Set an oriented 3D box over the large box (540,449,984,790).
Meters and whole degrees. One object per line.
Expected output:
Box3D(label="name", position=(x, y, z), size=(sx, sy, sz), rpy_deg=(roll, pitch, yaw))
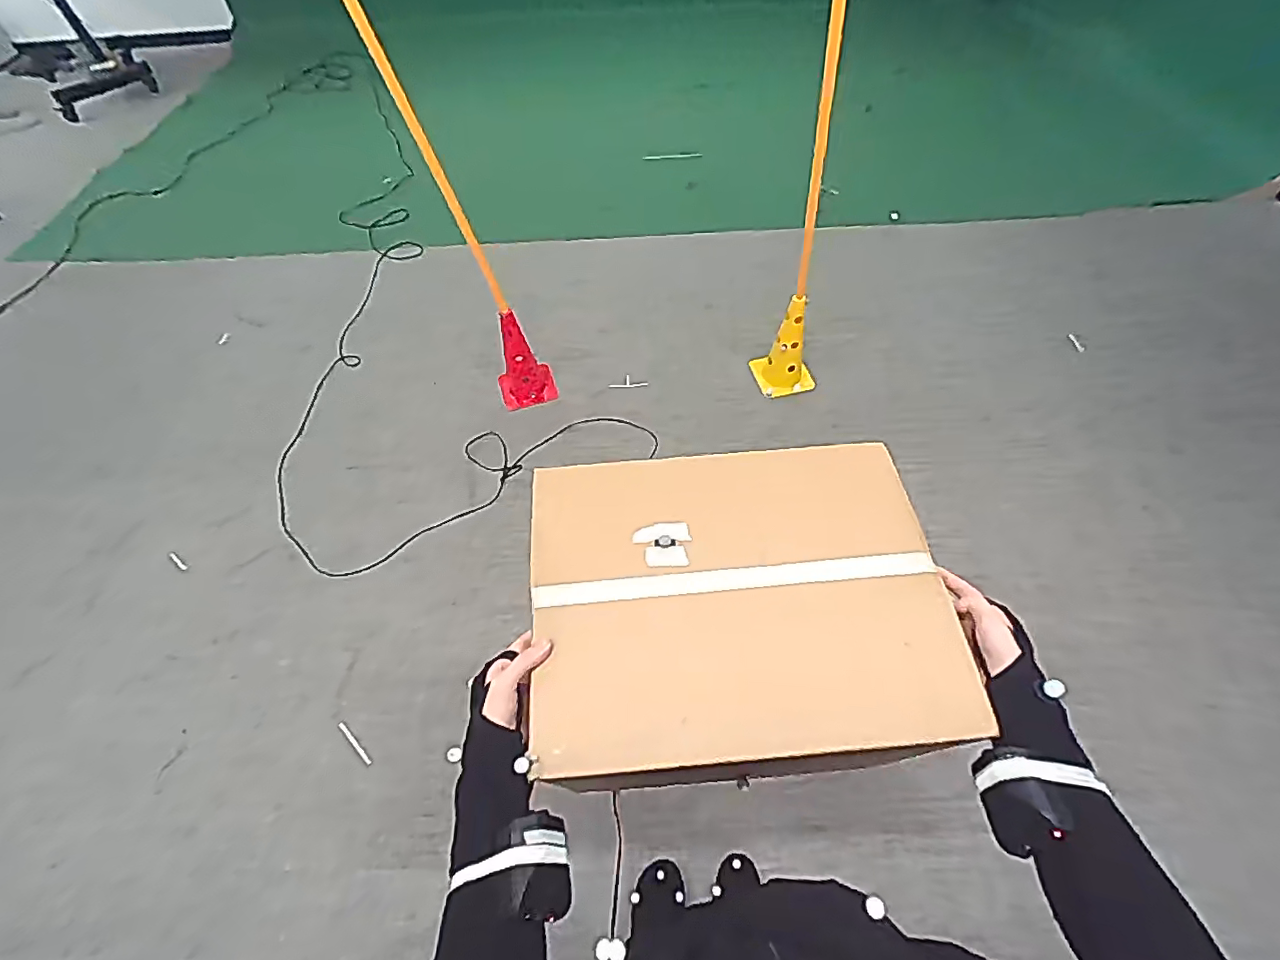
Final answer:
Box3D(label="large box", position=(0.104, 0.190, 0.679), size=(0.408, 0.320, 0.320), rpy_deg=(-6, 57, -1))
